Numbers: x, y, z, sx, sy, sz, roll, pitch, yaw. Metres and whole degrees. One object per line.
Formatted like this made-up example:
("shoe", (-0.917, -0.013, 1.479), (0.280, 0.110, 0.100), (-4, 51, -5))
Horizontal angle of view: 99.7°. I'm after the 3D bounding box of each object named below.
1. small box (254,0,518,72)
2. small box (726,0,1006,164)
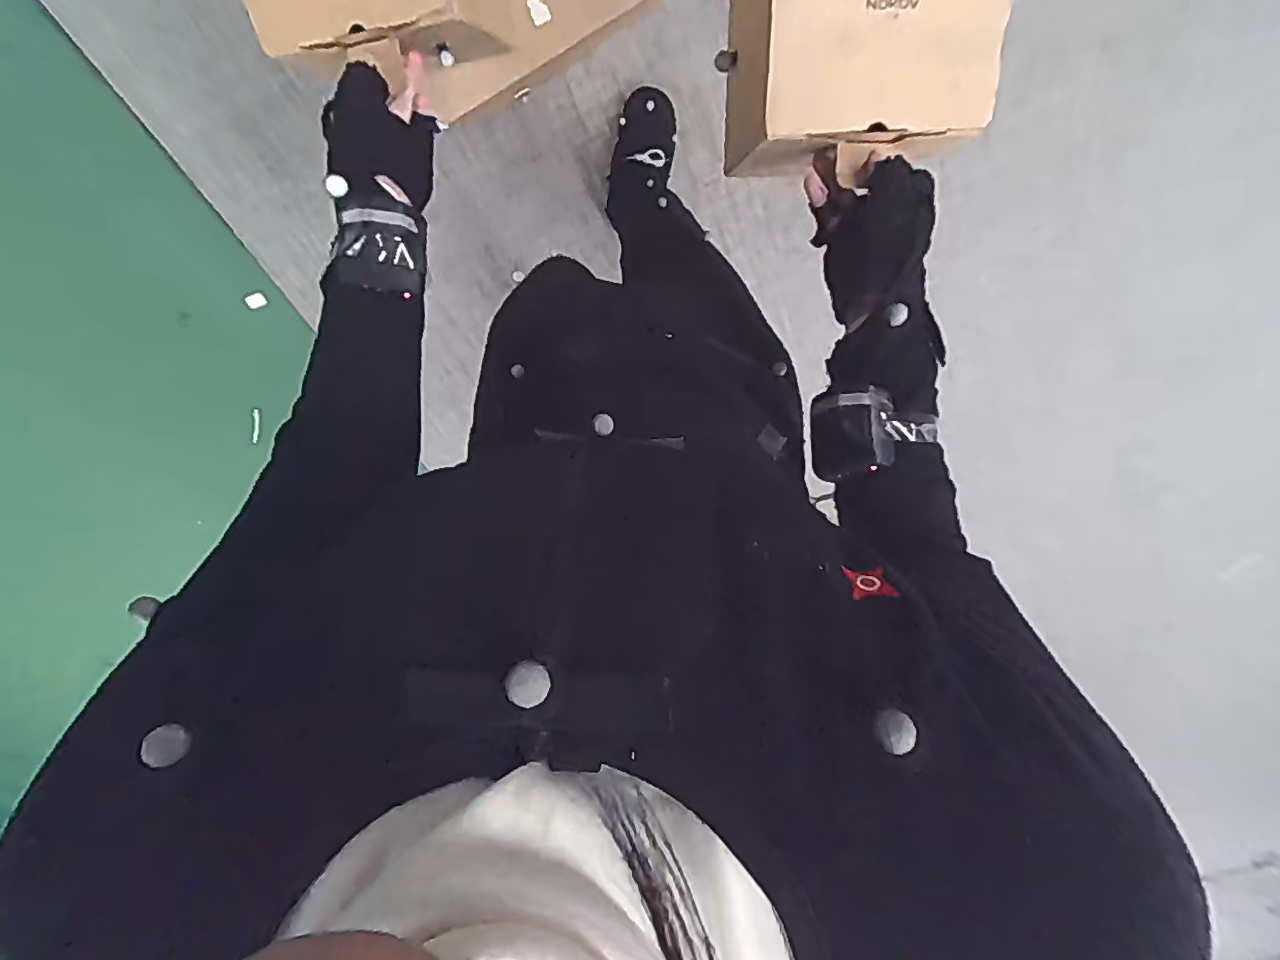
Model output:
("small box", (-0.217, -0.462, 0.447), (0.168, 0.176, 0.179), (-5, 119, 10))
("small box", (0.168, -0.368, 0.441), (0.168, 0.176, 0.179), (-2, 111, -2))
